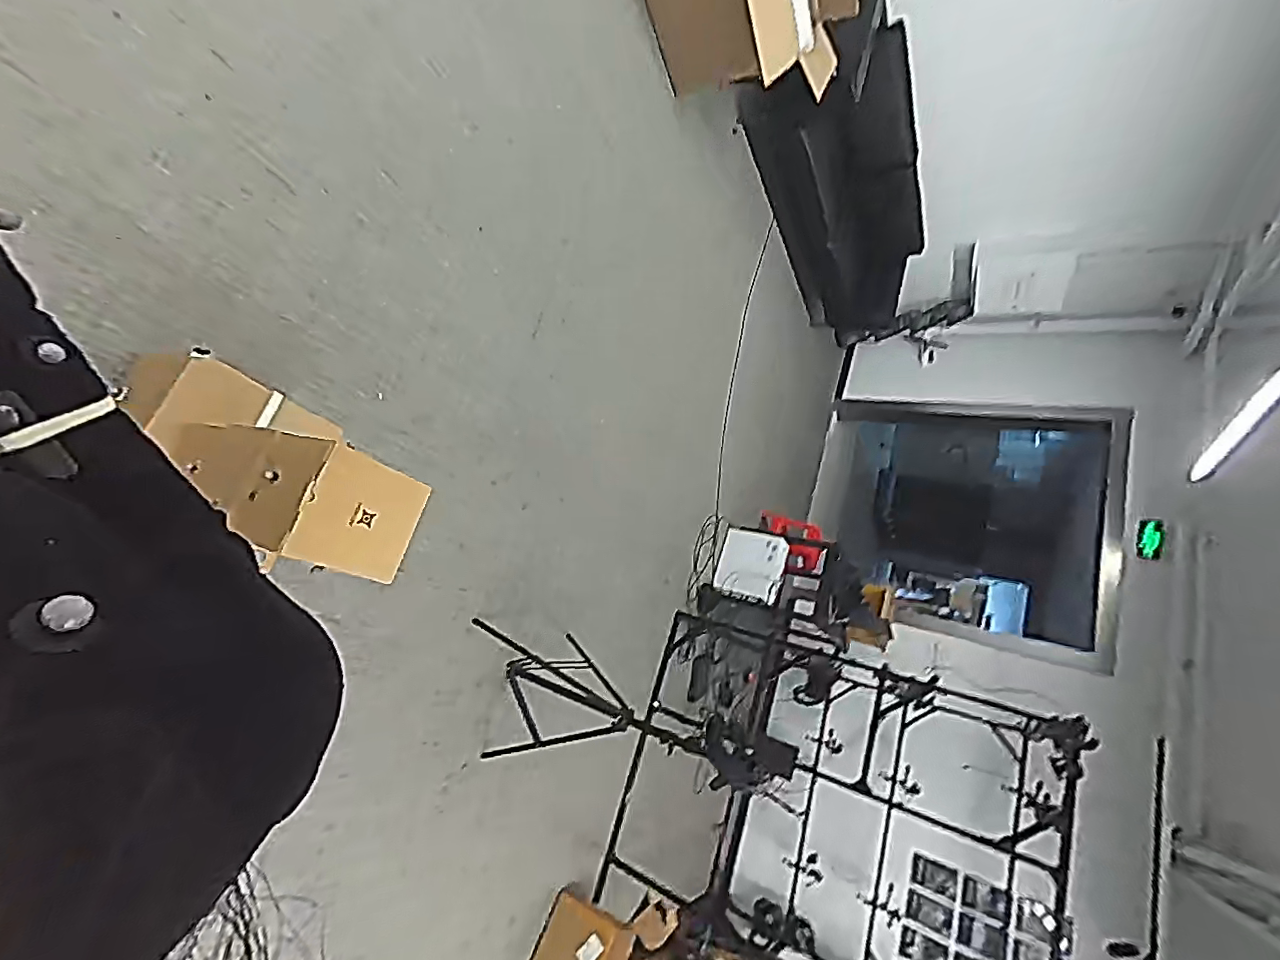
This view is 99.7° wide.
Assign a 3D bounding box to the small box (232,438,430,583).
[{"bbox_3d":[-0.472,0.044,0.834,0.179,0.176,0.168,39,65,-52],"label":"small box"}]

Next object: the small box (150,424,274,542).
[{"bbox_3d":[-0.751,0.008,1.000,0.168,0.176,0.179,38,66,-53],"label":"small box"}]
